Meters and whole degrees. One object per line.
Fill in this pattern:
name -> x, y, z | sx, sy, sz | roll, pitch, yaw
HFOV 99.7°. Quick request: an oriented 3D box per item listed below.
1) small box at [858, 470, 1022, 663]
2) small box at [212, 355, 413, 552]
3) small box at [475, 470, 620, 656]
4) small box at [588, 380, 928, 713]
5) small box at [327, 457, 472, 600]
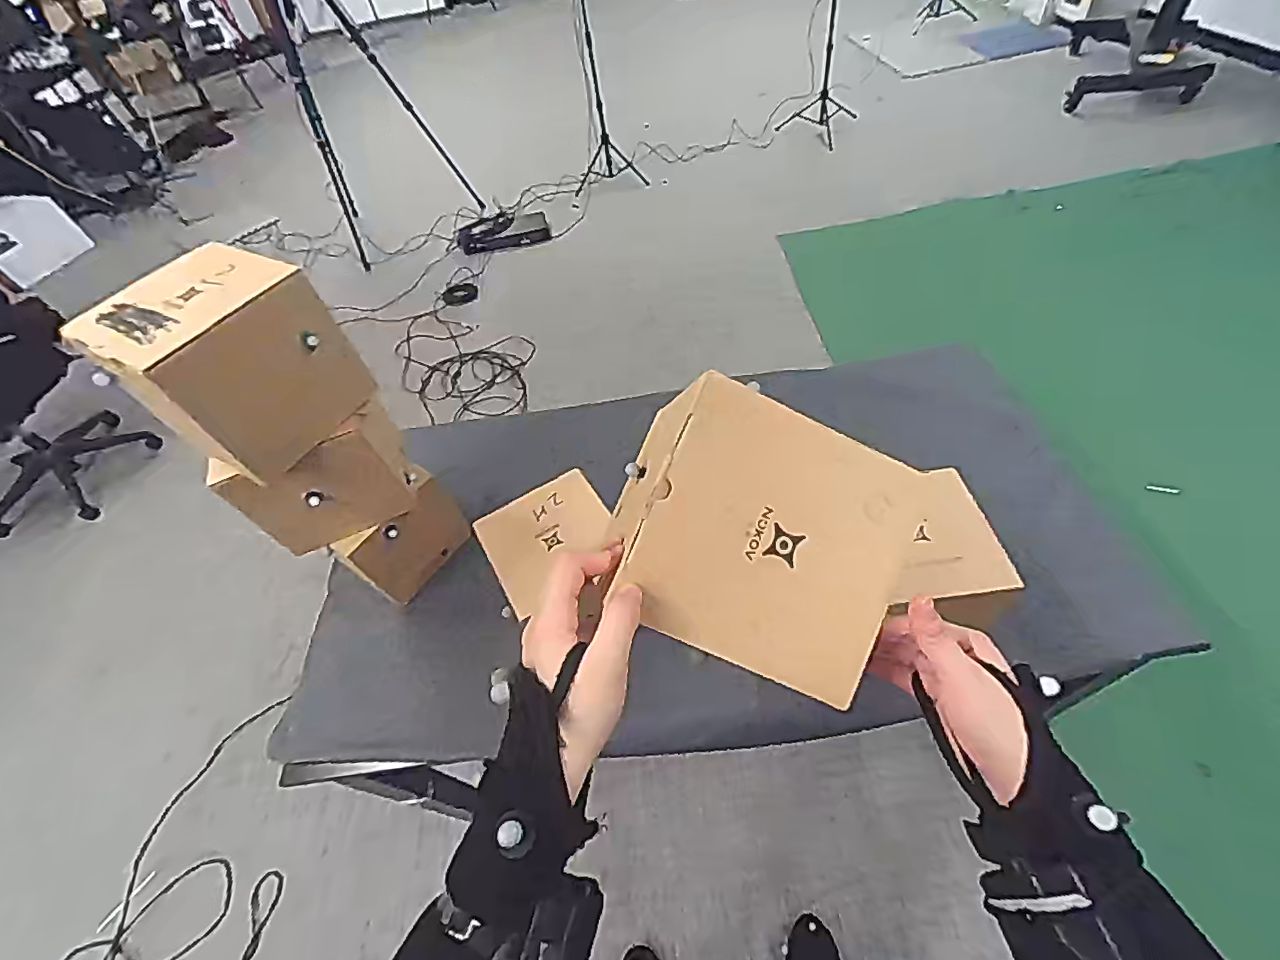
small box -> 0.335, 0.114, 0.698 | 0.168, 0.176, 0.179 | -9, 51, 4
small box -> -0.431, -0.033, 0.737 | 0.179, 0.176, 0.168 | -24, 53, -8
small box -> -0.104, 0.126, 0.766 | 0.168, 0.176, 0.179 | -29, 52, -13
small box -> 0.071, 0.044, 0.423 | 0.179, 0.176, 0.168 | 25, 86, -7
small box -> -0.409, 0.064, 0.869 | 0.179, 0.176, 0.168 | 25, 61, 26
